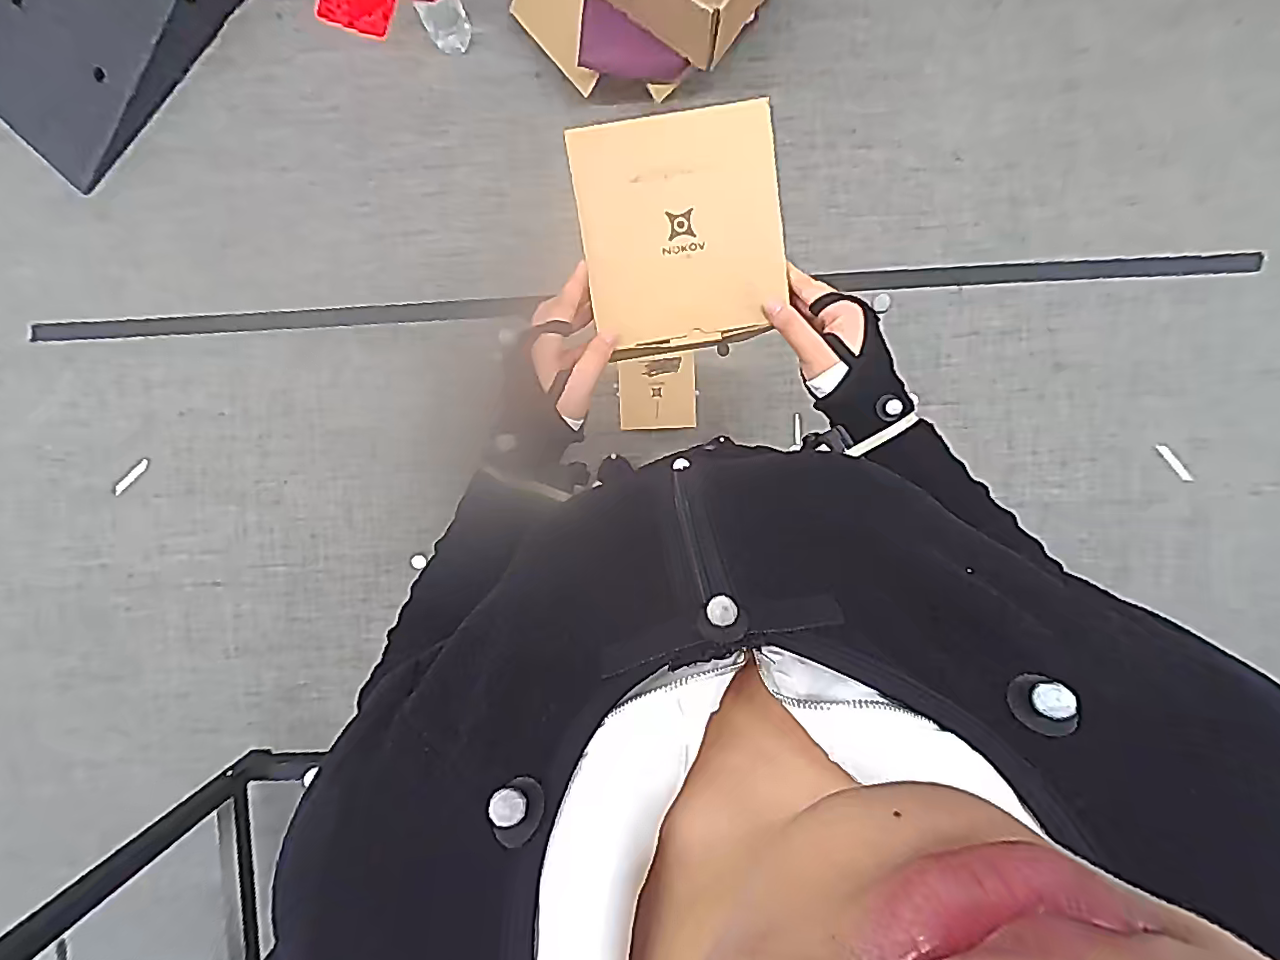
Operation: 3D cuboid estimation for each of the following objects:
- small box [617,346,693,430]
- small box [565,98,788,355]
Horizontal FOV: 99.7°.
[{"bbox_3d":[0.032,-0.205,1.240,0.168,0.176,0.179,-2,95,1],"label":"small box"},{"bbox_3d":[0.030,-0.219,0.519,0.168,0.176,0.179,-10,99,-1],"label":"small box"}]
